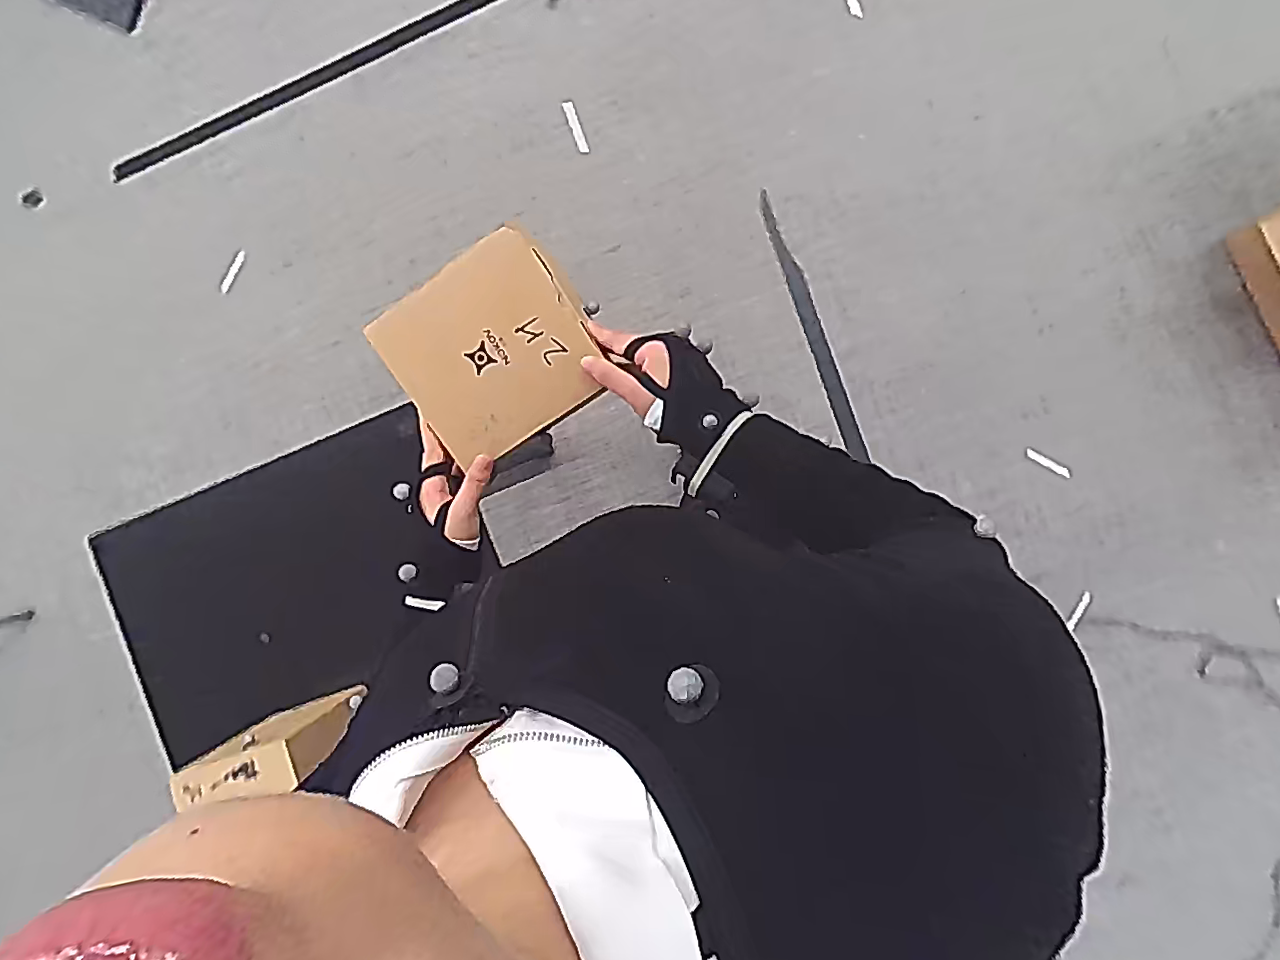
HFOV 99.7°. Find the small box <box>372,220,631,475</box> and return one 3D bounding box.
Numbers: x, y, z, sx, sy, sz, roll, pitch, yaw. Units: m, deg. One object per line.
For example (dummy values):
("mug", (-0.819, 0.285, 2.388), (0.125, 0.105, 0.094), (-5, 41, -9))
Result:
("small box", (-0.124, -0.128, 0.560), (0.179, 0.176, 0.168), (-31, 99, 9))

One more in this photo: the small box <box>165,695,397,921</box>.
("small box", (-0.461, 0.422, 0.723), (0.168, 0.176, 0.179), (-20, 90, 5))
